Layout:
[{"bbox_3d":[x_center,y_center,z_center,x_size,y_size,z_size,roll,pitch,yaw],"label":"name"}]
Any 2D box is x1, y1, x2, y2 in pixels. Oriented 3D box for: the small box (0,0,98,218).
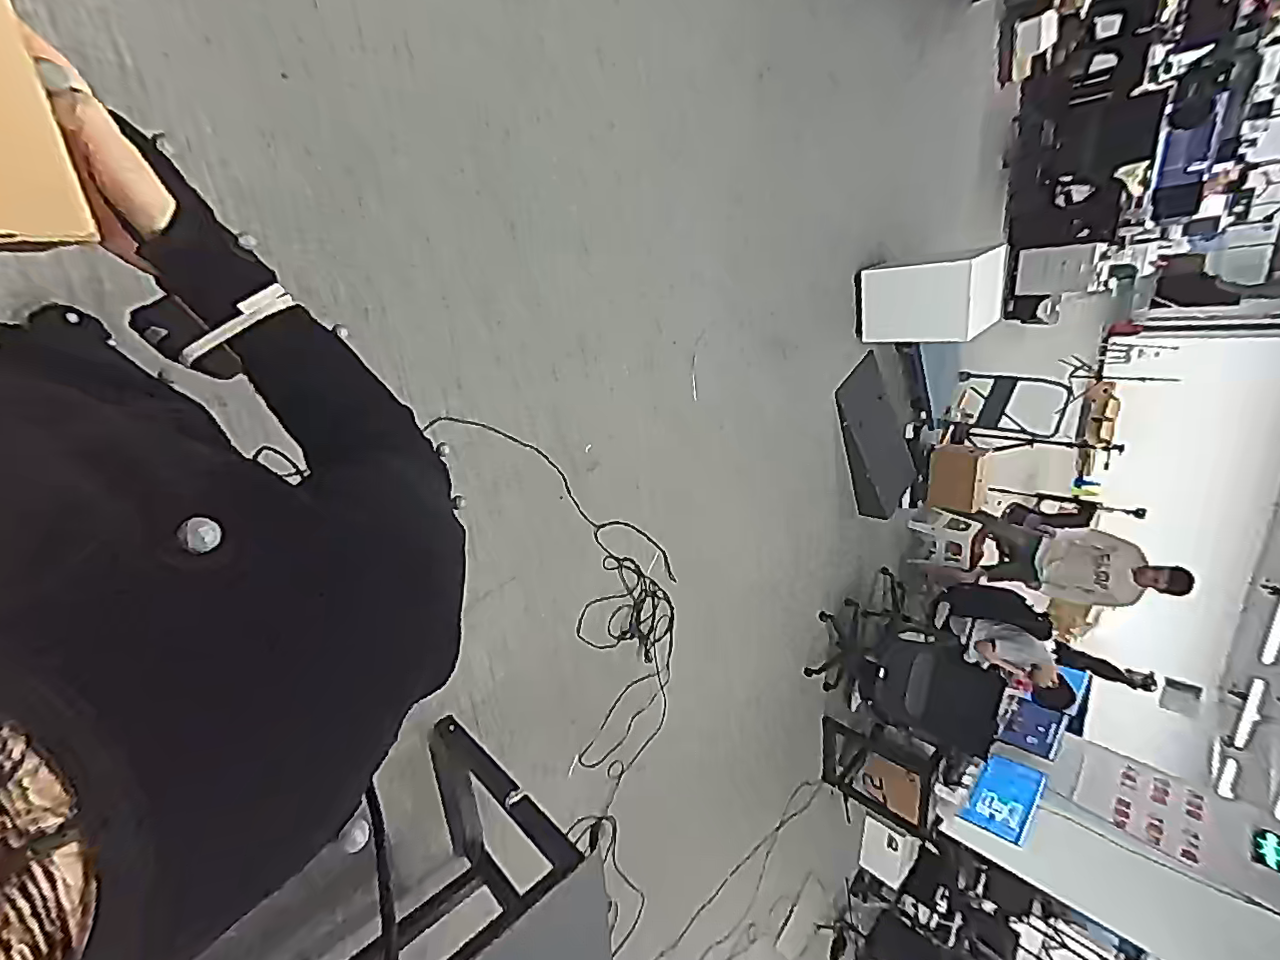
[{"bbox_3d":[-0.397,-0.215,0.233,0.168,0.176,0.179,-30,128,-48],"label":"small box"}]
